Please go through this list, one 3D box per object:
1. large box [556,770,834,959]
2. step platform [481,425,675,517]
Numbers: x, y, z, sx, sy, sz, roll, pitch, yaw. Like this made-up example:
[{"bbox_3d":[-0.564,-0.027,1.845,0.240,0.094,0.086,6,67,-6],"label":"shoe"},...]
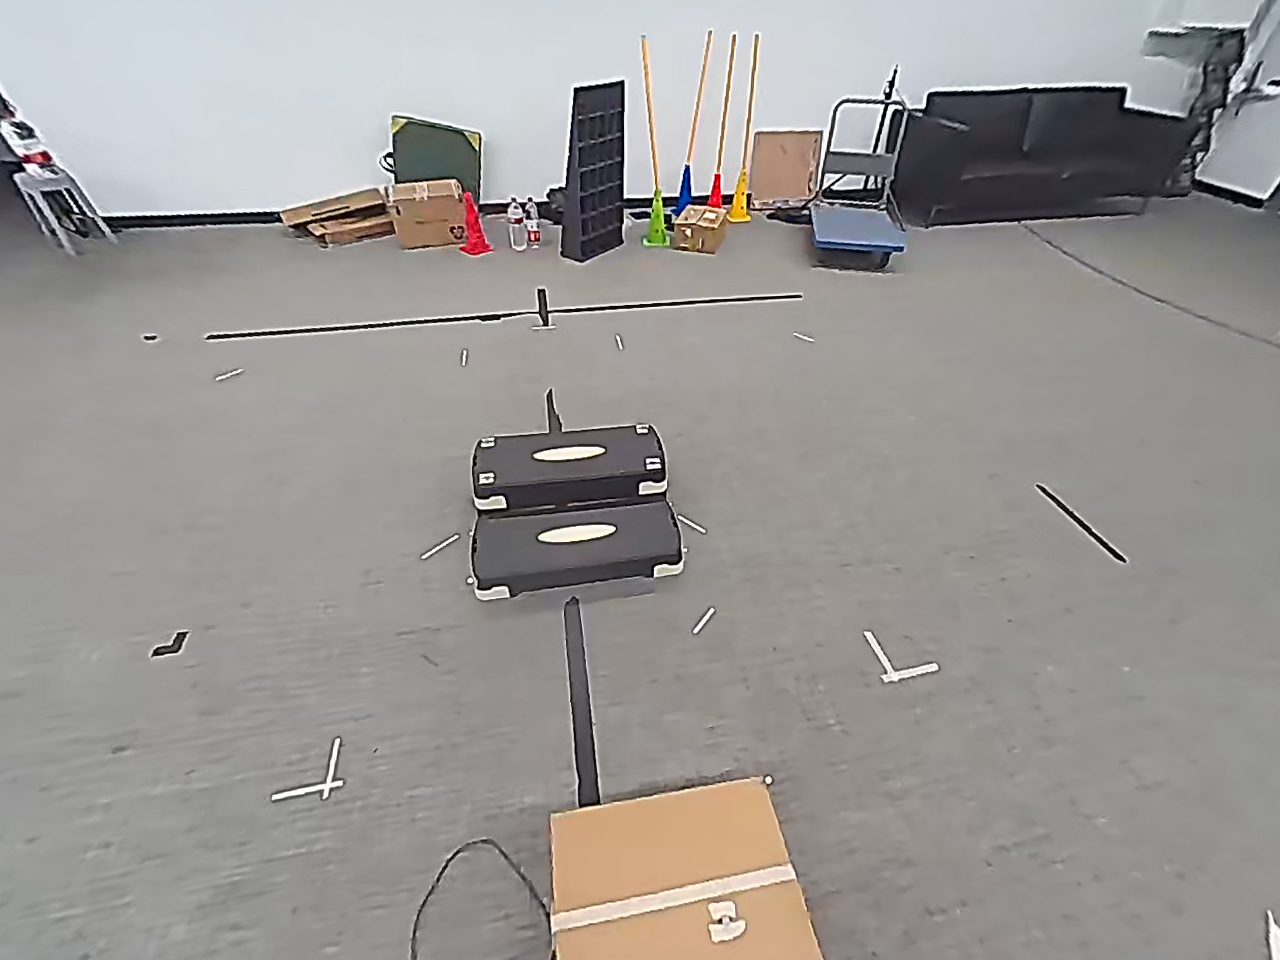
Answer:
[{"bbox_3d":[0.068,0.775,0.969,0.408,0.320,0.320,-5,42,-9],"label":"large box"},{"bbox_3d":[-0.218,-0.044,1.950,0.684,0.204,0.286,-2,42,-5],"label":"step platform"}]
